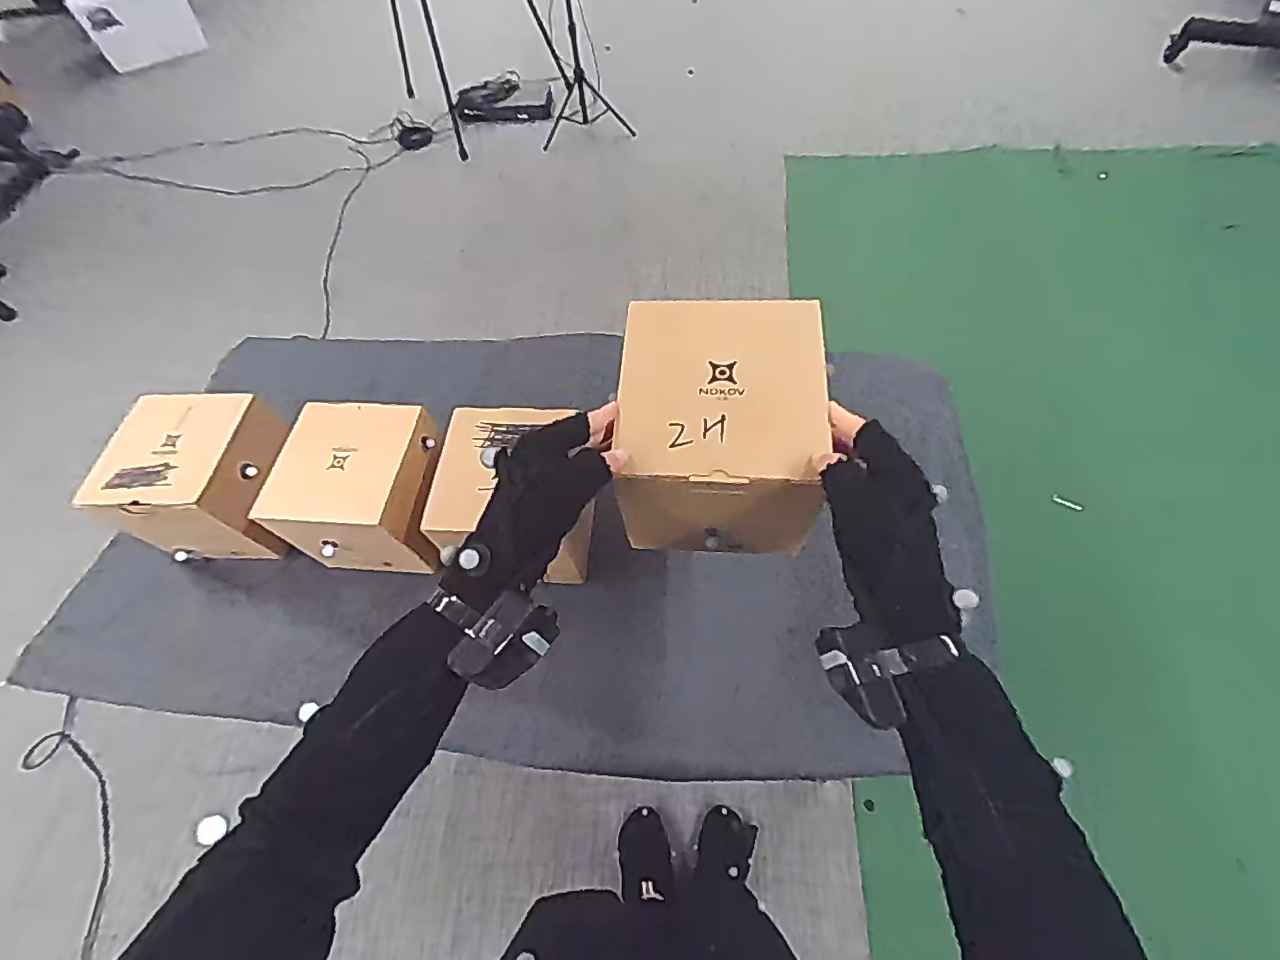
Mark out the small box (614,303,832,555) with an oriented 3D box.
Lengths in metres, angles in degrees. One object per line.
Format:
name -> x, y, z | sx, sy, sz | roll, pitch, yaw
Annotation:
small box -> 0.075, -0.043, 0.512 | 0.168, 0.176, 0.179 | 2, 64, 7

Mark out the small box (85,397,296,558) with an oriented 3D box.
small box -> -0.594, 0.003, 0.769 | 0.168, 0.176, 0.179 | 0, 58, 4

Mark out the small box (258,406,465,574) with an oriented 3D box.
small box -> -0.360, 0.019, 0.742 | 0.168, 0.176, 0.179 | 2, 59, 6
